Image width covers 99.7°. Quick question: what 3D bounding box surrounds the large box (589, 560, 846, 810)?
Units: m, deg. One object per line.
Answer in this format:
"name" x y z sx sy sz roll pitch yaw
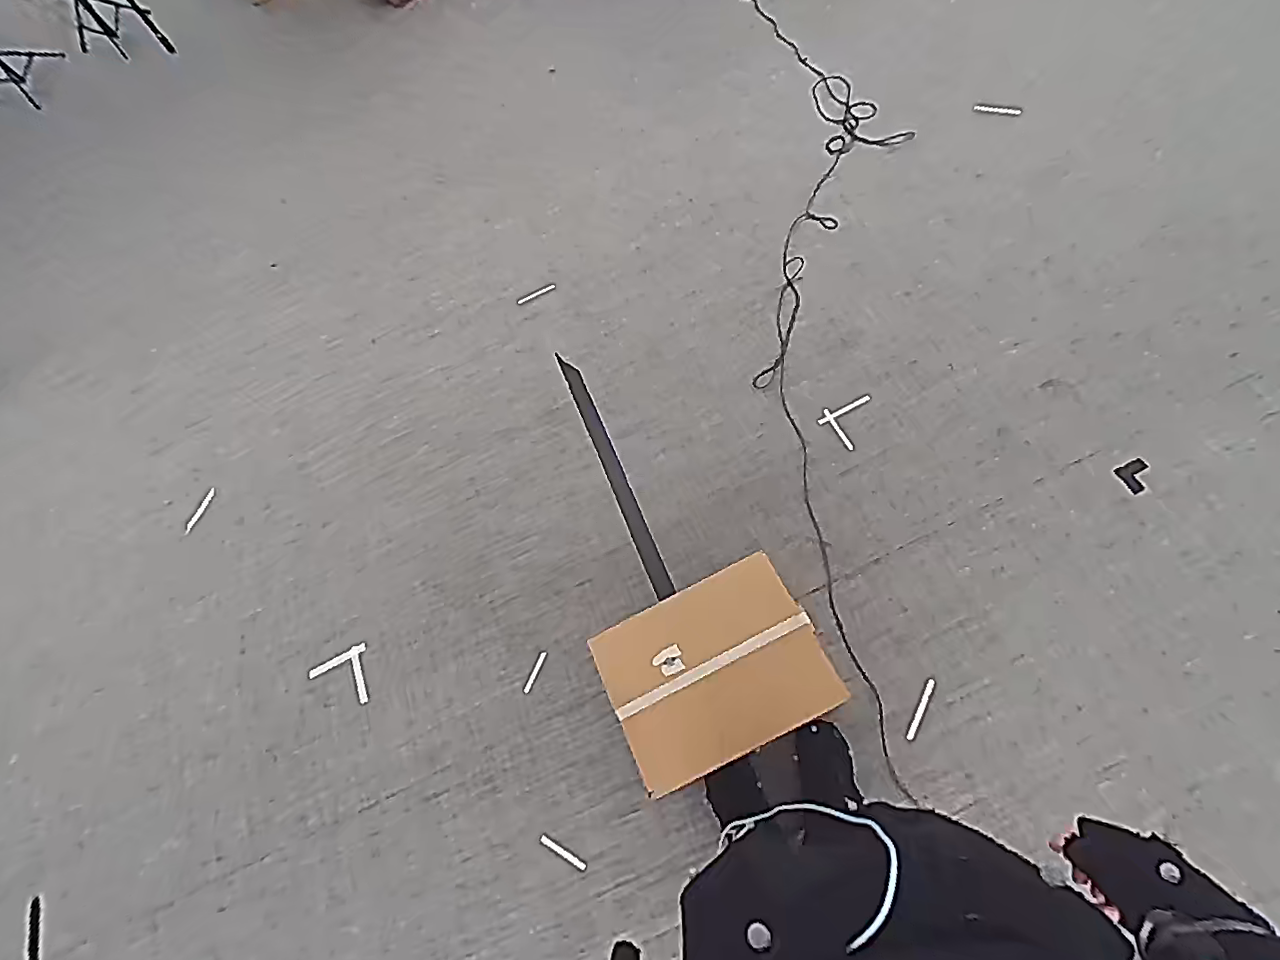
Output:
"large box" 0.164 0.426 1.156 0.408 0.320 0.320 -28 63 1
